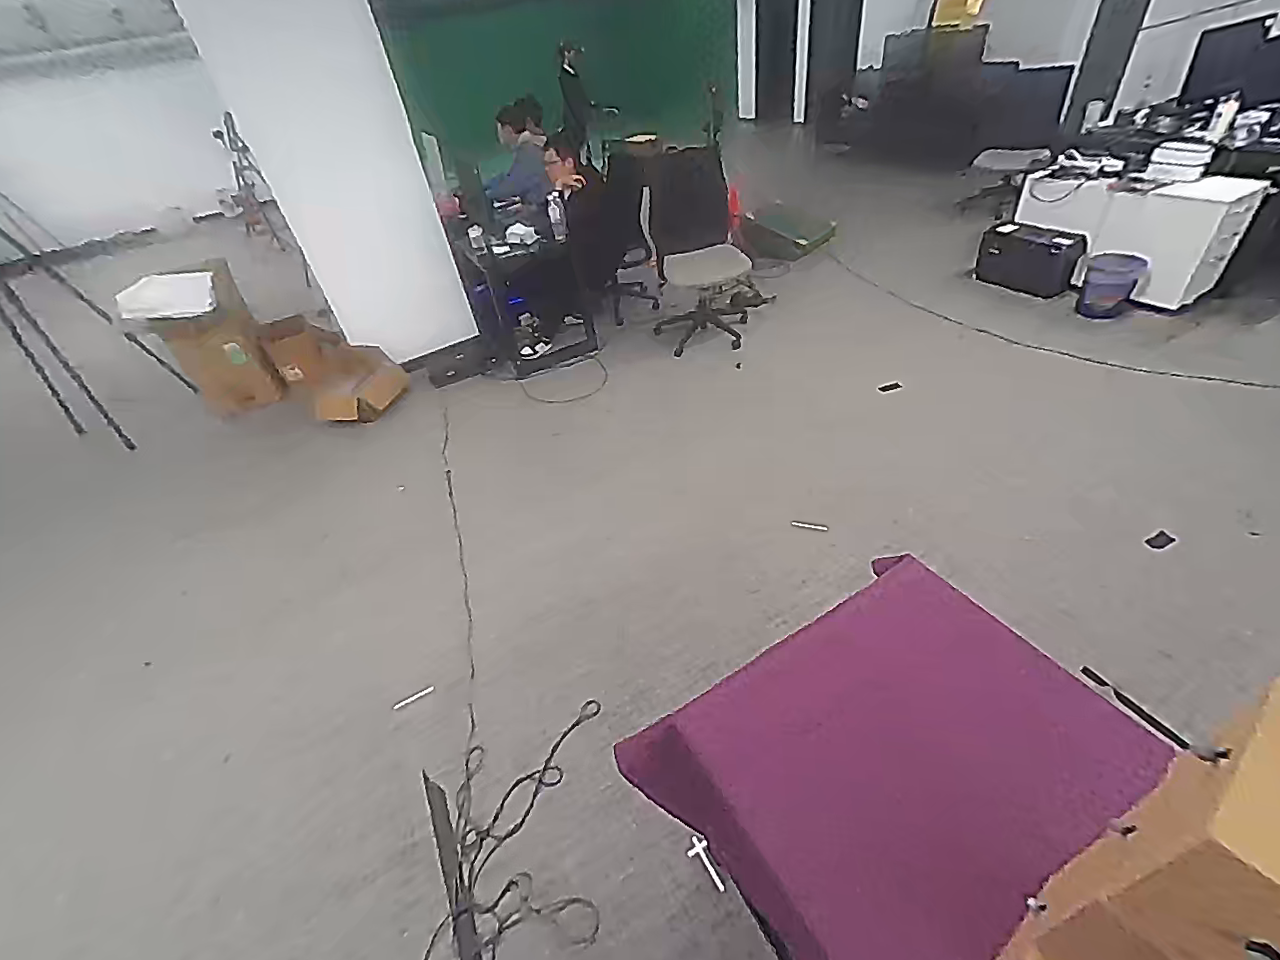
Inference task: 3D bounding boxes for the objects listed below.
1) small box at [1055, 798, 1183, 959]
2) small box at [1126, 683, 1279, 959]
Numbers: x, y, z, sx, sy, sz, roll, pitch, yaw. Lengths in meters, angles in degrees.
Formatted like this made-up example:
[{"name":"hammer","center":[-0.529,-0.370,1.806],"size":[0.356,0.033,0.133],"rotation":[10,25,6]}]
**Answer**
[{"name":"small box","center":[0.511,0.408,0.471],"size":[0.179,0.176,0.168],"rotation":[-29,42,-22]},{"name":"small box","center":[0.486,0.283,0.370],"size":[0.179,0.176,0.168],"rotation":[-30,43,-25]}]
